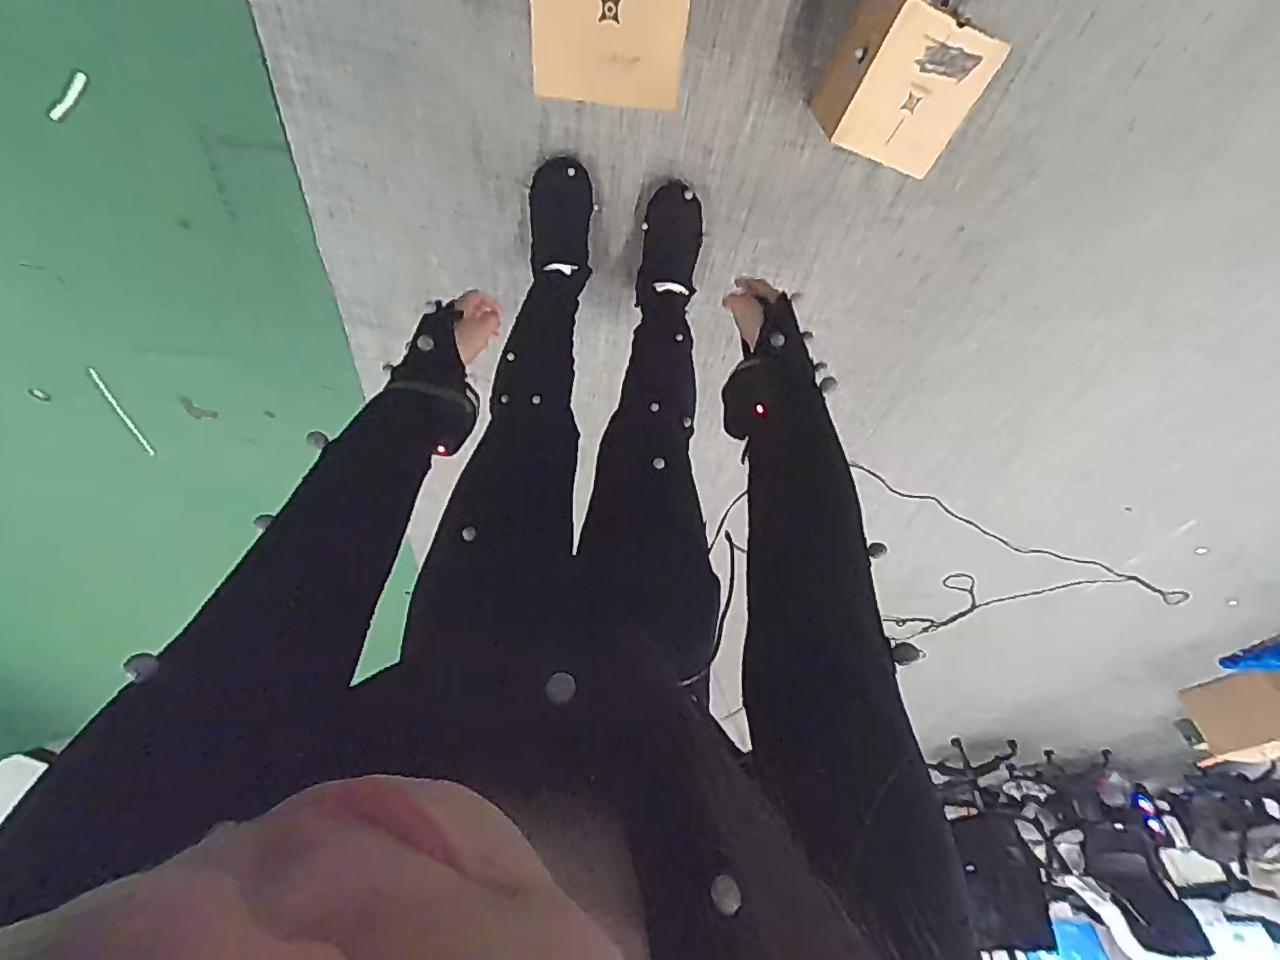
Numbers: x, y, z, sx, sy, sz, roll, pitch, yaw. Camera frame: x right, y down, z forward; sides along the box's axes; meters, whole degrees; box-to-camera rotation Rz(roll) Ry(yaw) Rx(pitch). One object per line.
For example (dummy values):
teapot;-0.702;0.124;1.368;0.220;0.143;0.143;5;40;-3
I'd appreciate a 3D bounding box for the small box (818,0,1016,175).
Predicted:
small box;0.383;-0.593;0.788;0.168;0.176;0.179;14;138;-14

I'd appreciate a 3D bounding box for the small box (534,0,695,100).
small box;-0.024;-0.553;0.593;0.168;0.176;0.179;5;139;-3
